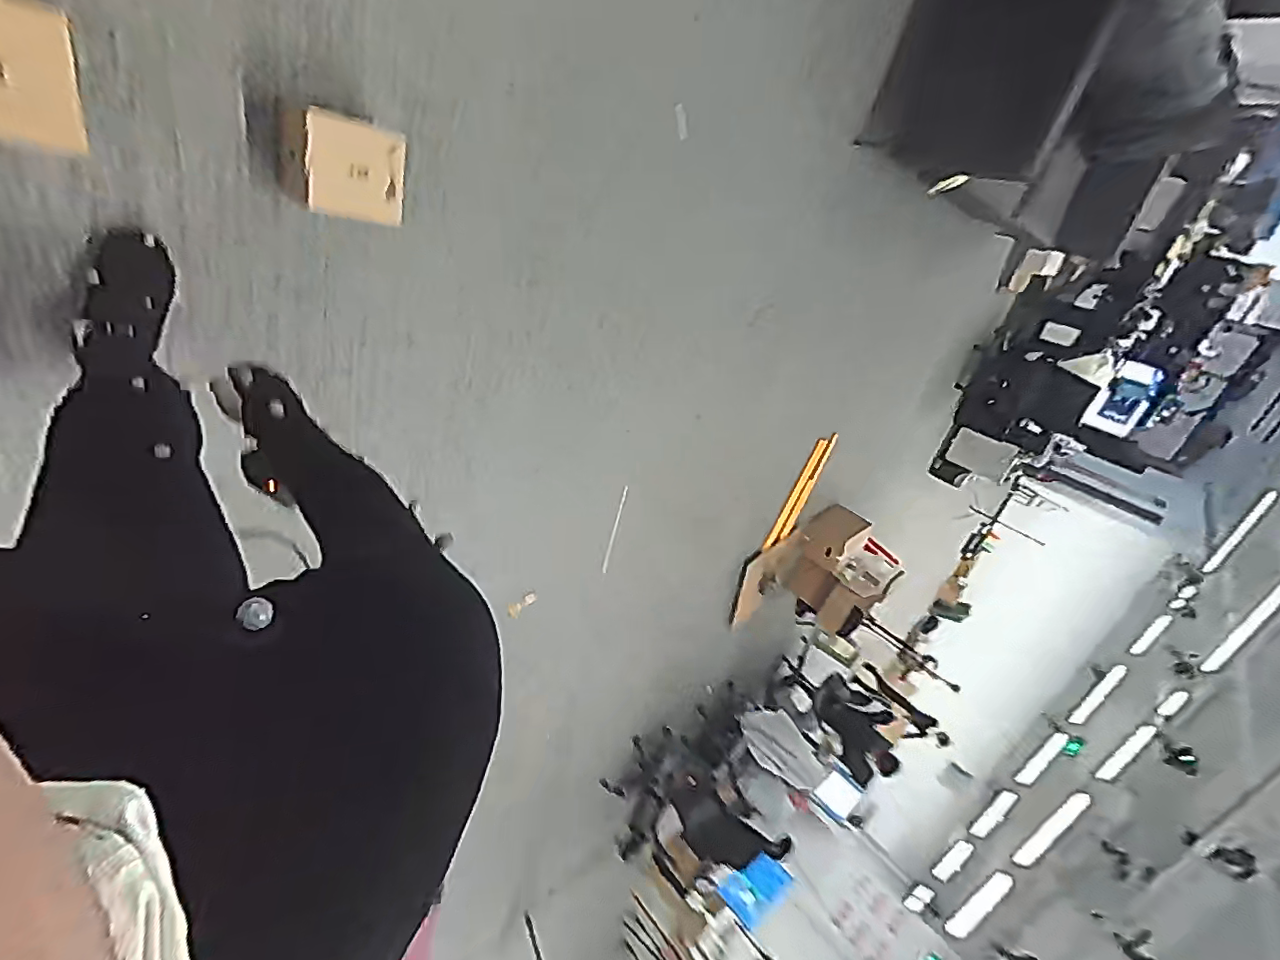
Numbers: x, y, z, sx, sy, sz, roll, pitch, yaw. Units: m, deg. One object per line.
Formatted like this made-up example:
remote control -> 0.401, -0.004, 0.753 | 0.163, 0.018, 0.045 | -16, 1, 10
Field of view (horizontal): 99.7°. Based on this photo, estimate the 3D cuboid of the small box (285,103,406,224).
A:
small box -> -0.591, -0.628, 1.076 | 0.179, 0.176, 0.168 | -10, 126, -44

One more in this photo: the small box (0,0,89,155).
small box -> -0.908, -0.583, 0.756 | 0.168, 0.176, 0.179 | -11, 126, -43
